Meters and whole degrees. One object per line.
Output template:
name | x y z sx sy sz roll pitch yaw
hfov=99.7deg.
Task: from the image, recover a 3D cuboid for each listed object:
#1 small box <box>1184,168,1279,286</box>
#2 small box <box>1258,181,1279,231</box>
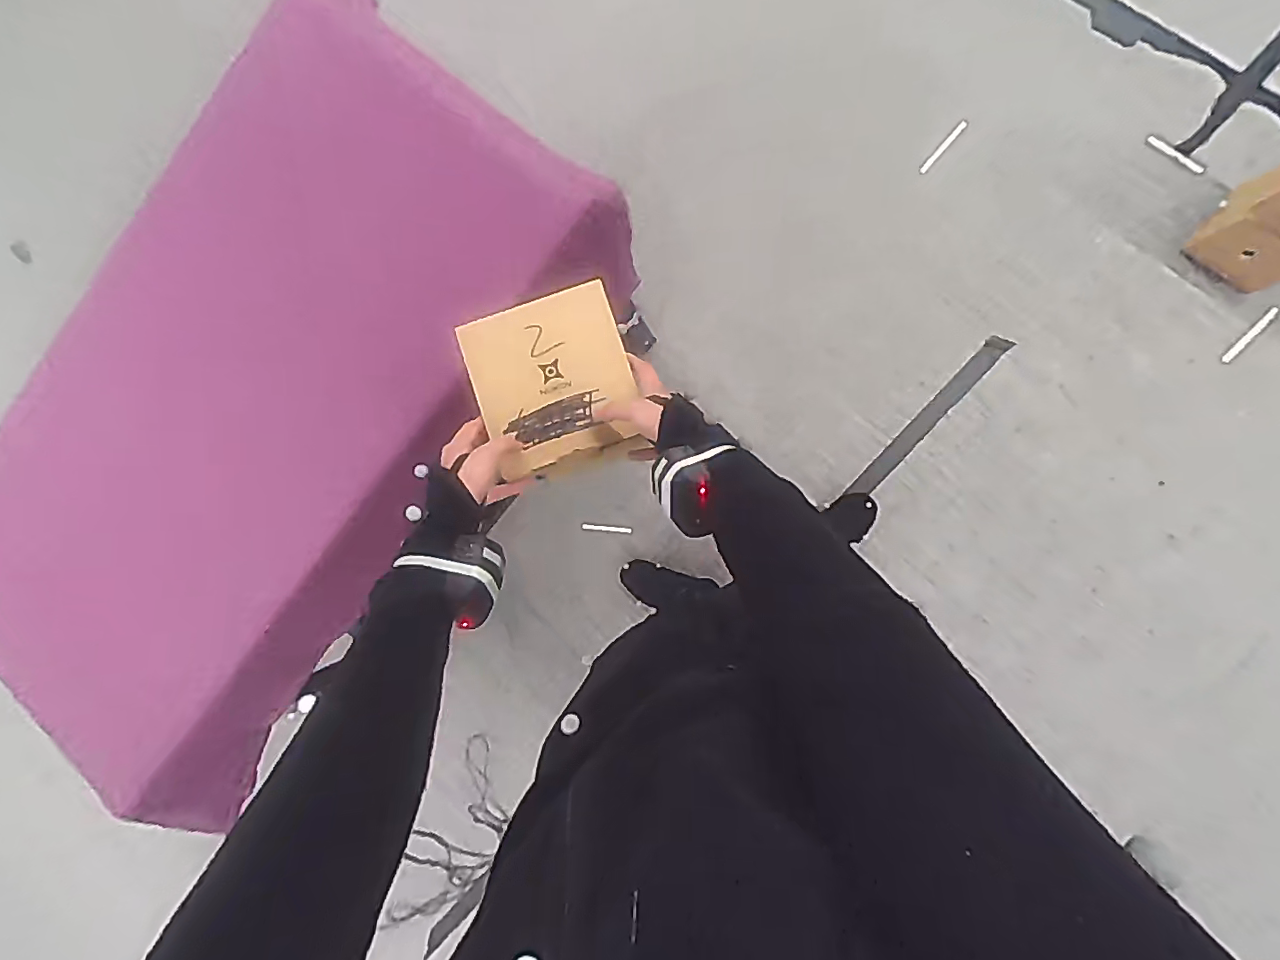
small box | 1.325 -0.529 1.123 0.179 0.176 0.168 39 97 8
small box | 1.300 -0.539 0.961 0.168 0.176 0.179 43 98 7
